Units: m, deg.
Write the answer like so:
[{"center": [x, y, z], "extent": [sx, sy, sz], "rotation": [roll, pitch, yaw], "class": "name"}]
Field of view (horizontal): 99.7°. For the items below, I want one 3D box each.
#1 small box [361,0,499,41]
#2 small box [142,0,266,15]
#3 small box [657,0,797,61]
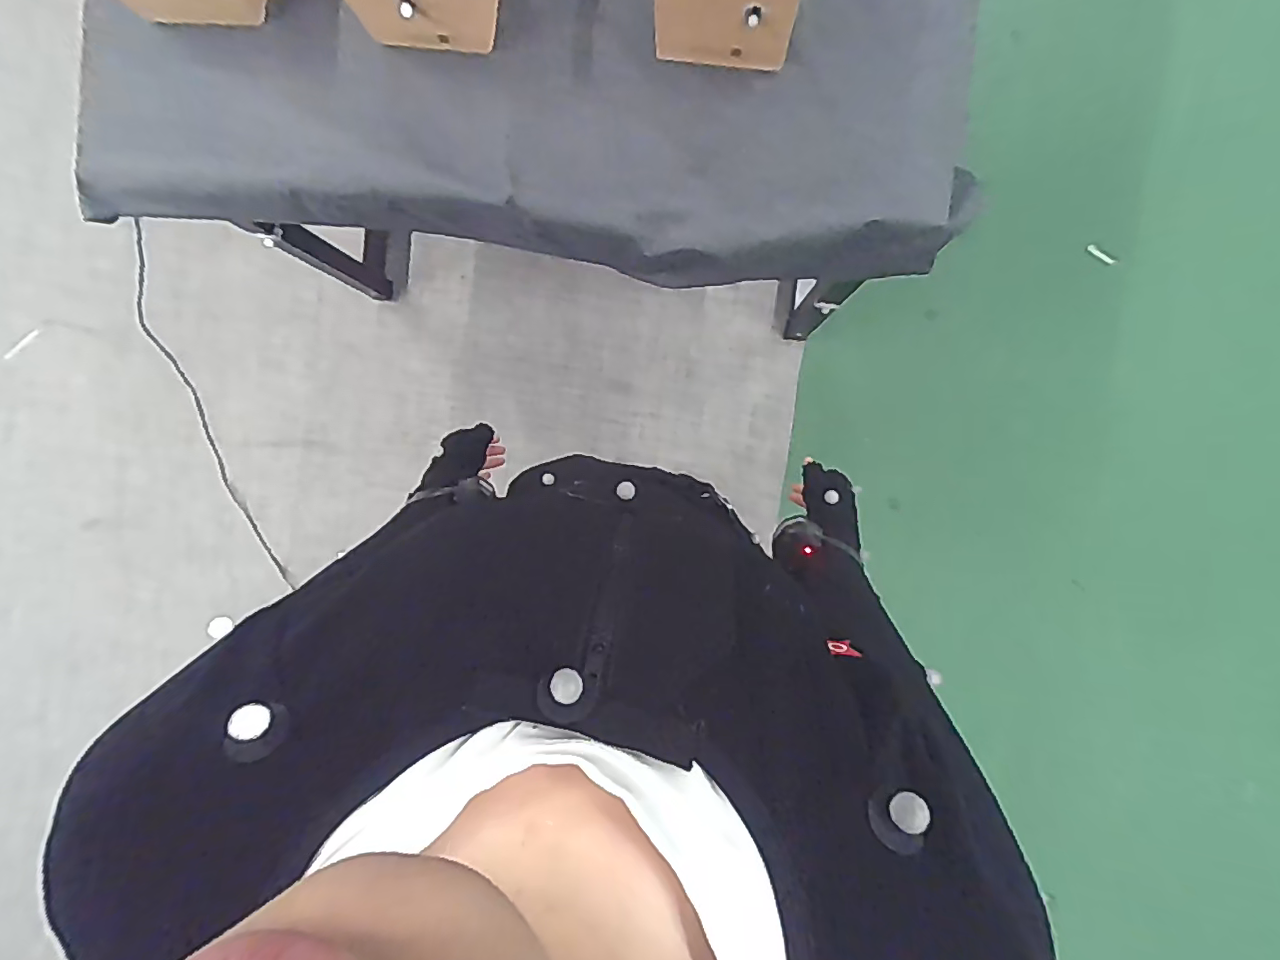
[{"center": [-0.269, -0.673, 0.644], "extent": [0.168, 0.176, 0.179], "rotation": [8, 93, 4], "class": "small box"}, {"center": [-0.597, -0.721, 0.663], "extent": [0.179, 0.176, 0.168], "rotation": [5, 93, 3], "class": "small box"}, {"center": [0.111, -0.630, 0.621], "extent": [0.168, 0.176, 0.179], "rotation": [9, 92, 3], "class": "small box"}]
